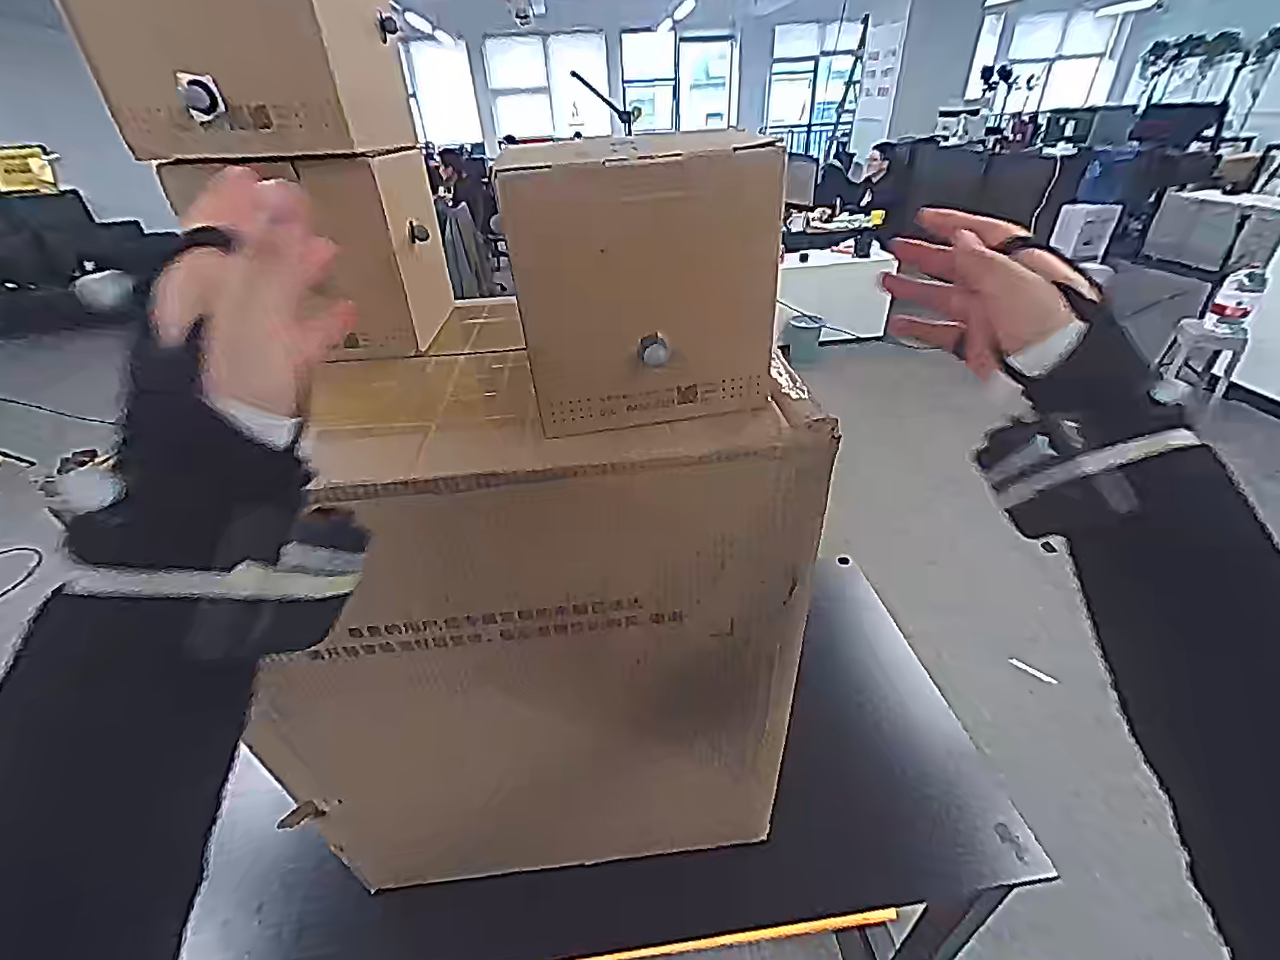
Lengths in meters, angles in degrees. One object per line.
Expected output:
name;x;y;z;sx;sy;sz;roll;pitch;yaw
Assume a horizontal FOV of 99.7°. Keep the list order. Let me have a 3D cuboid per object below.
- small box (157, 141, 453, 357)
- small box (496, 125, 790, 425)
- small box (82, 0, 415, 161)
small box;-0.295;-0.226;0.531;0.168;0.176;0.179;-4;34;-4
small box;-0.003;-0.159;0.406;0.168;0.176;0.179;-9;35;-5
small box;-0.296;-0.353;0.427;0.168;0.176;0.179;-5;34;-2
